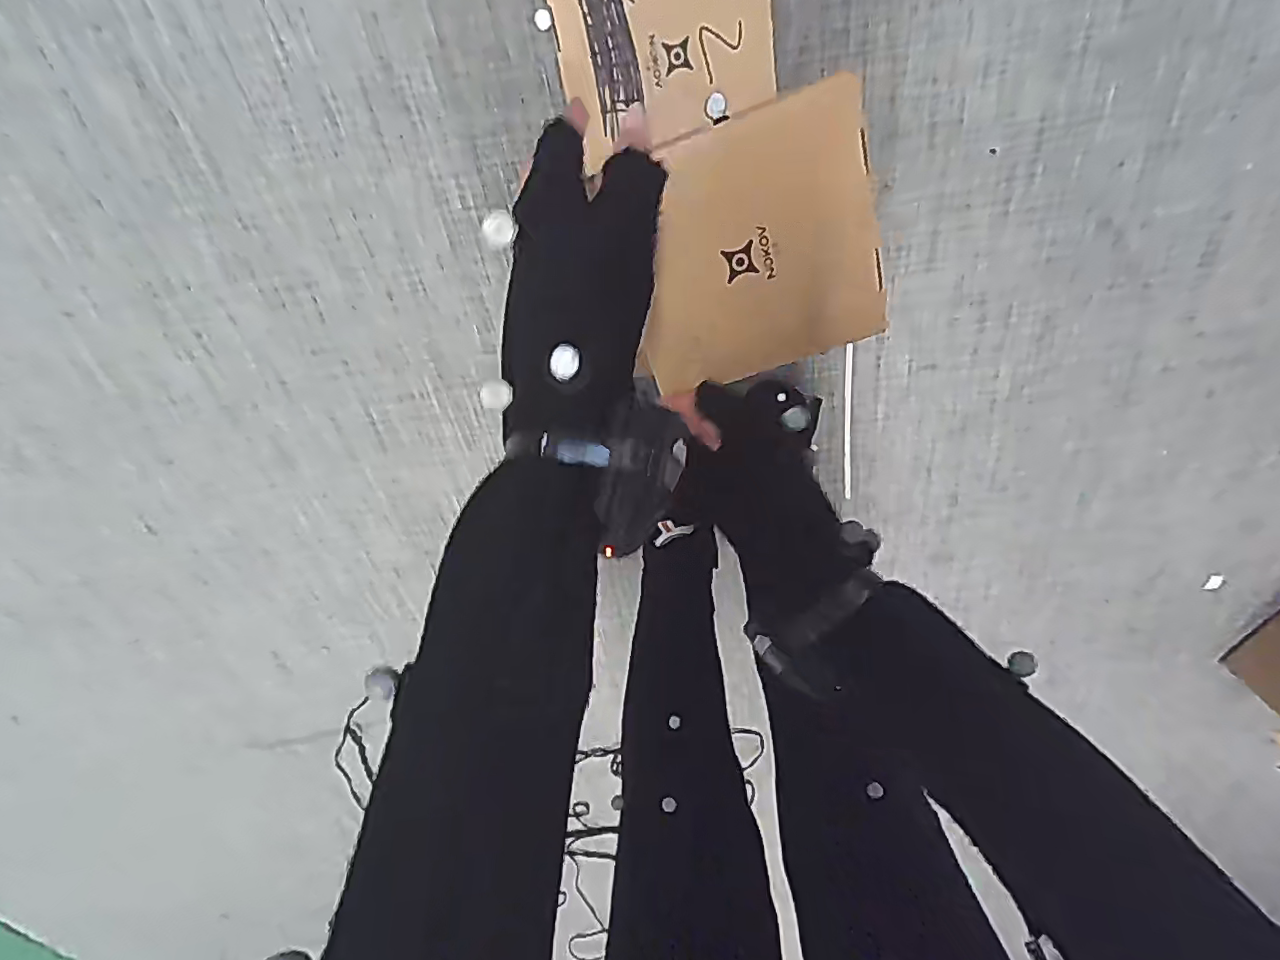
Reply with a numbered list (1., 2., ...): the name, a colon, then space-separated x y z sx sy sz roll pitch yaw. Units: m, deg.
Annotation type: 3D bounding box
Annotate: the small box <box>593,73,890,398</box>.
1. small box: 0.076 -0.192 0.443 0.179 0.176 0.168 -17 118 9
